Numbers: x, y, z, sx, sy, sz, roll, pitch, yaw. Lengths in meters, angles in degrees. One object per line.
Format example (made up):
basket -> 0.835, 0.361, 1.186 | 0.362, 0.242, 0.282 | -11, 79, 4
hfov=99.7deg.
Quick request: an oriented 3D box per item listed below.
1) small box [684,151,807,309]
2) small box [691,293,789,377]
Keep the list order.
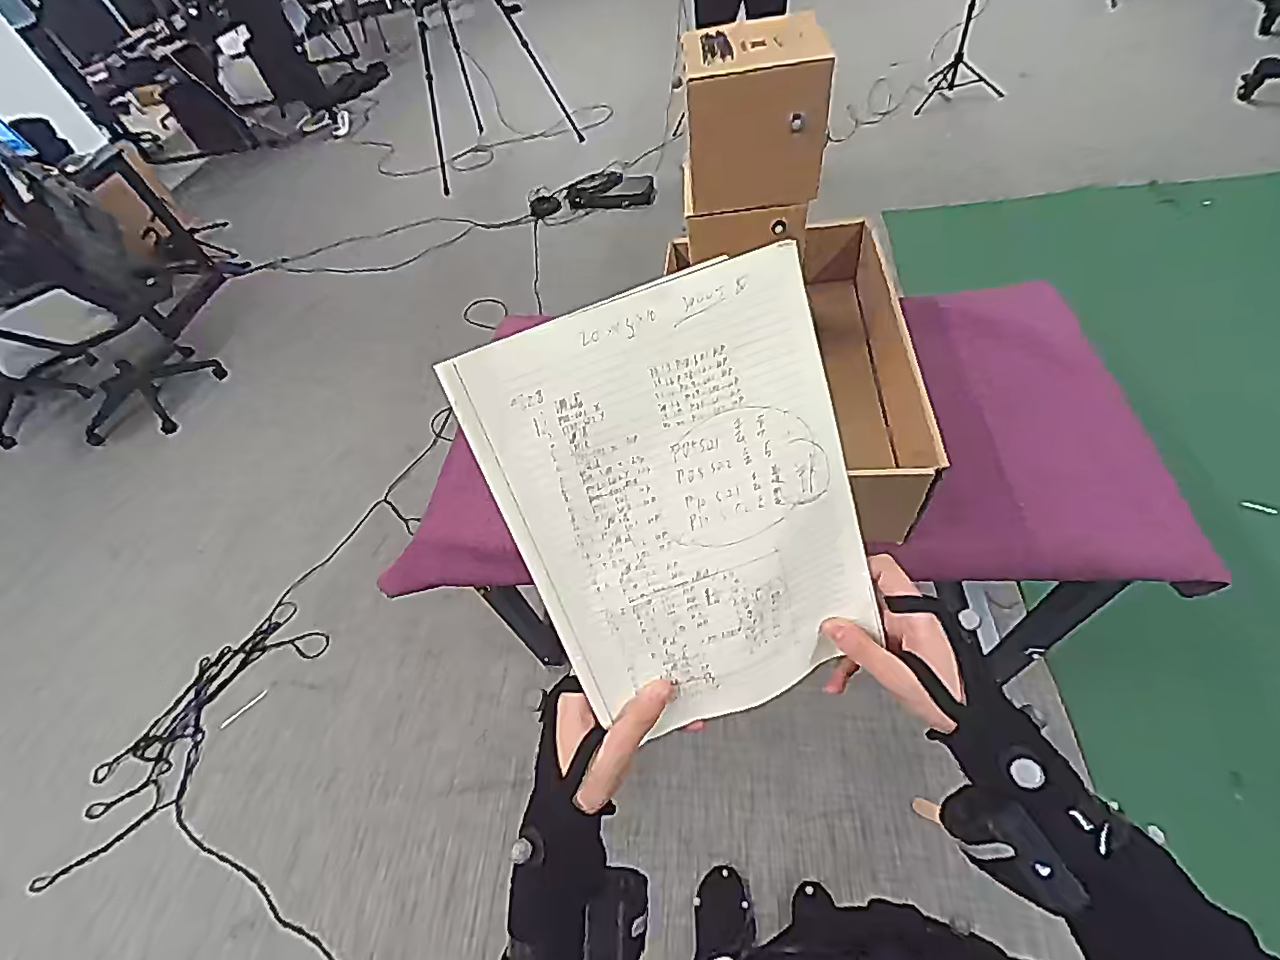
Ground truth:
small box -> 0.167, -0.397, 0.876 | 0.179, 0.176, 0.168 | -3, 55, 9
small box -> 0.188, -0.306, 1.007 | 0.168, 0.176, 0.179 | -1, 55, 11
